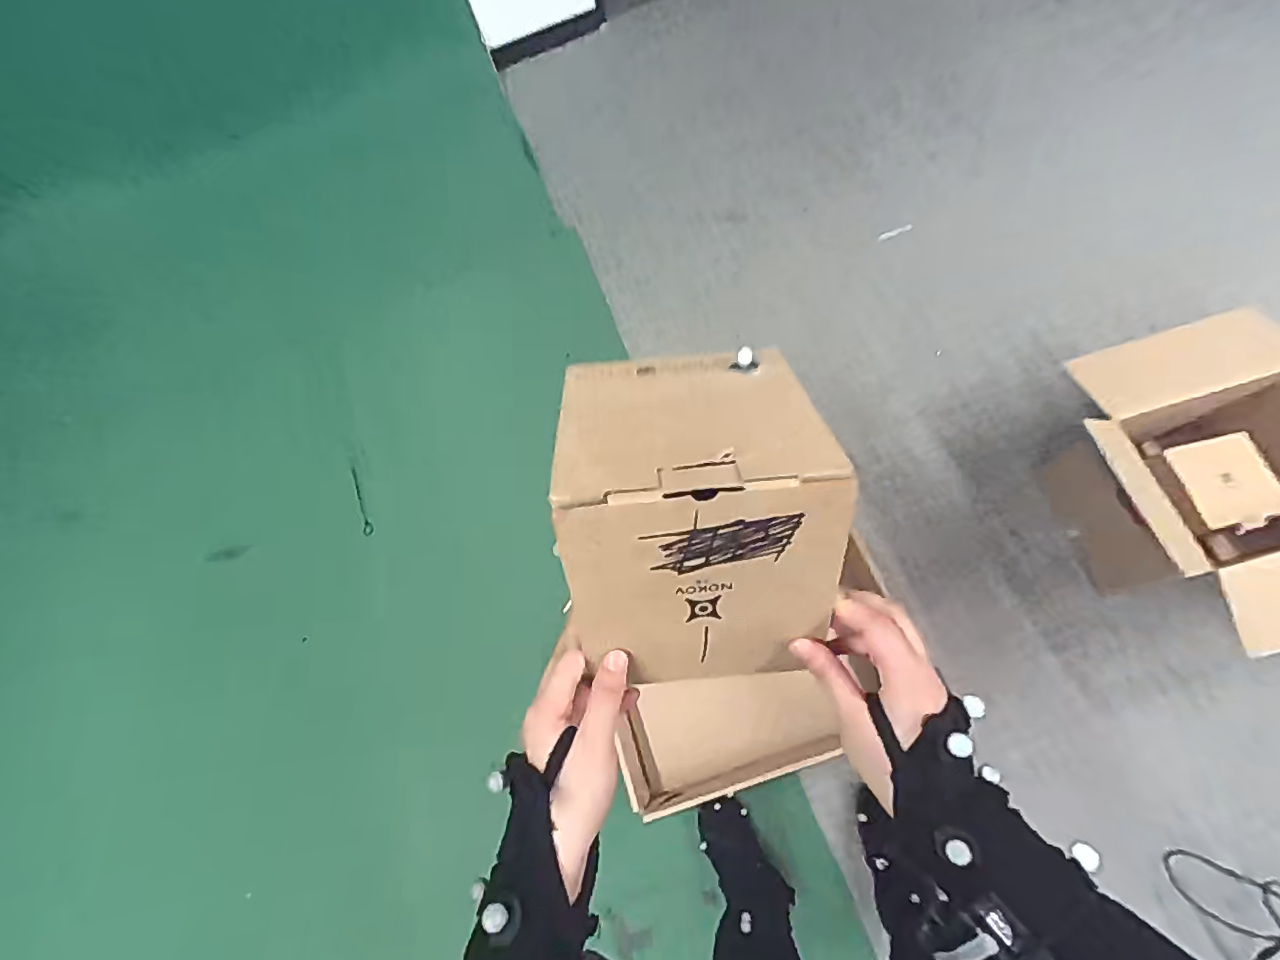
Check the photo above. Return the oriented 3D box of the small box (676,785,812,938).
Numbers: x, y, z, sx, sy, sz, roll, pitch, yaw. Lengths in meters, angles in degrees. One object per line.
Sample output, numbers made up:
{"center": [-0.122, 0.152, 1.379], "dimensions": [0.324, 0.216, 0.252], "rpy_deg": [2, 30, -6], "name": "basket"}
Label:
{"center": [0.205, 0.724, 1.042], "dimensions": [0.176, 0.168, 0.179], "rpy_deg": [39, 52, -9], "name": "small box"}
